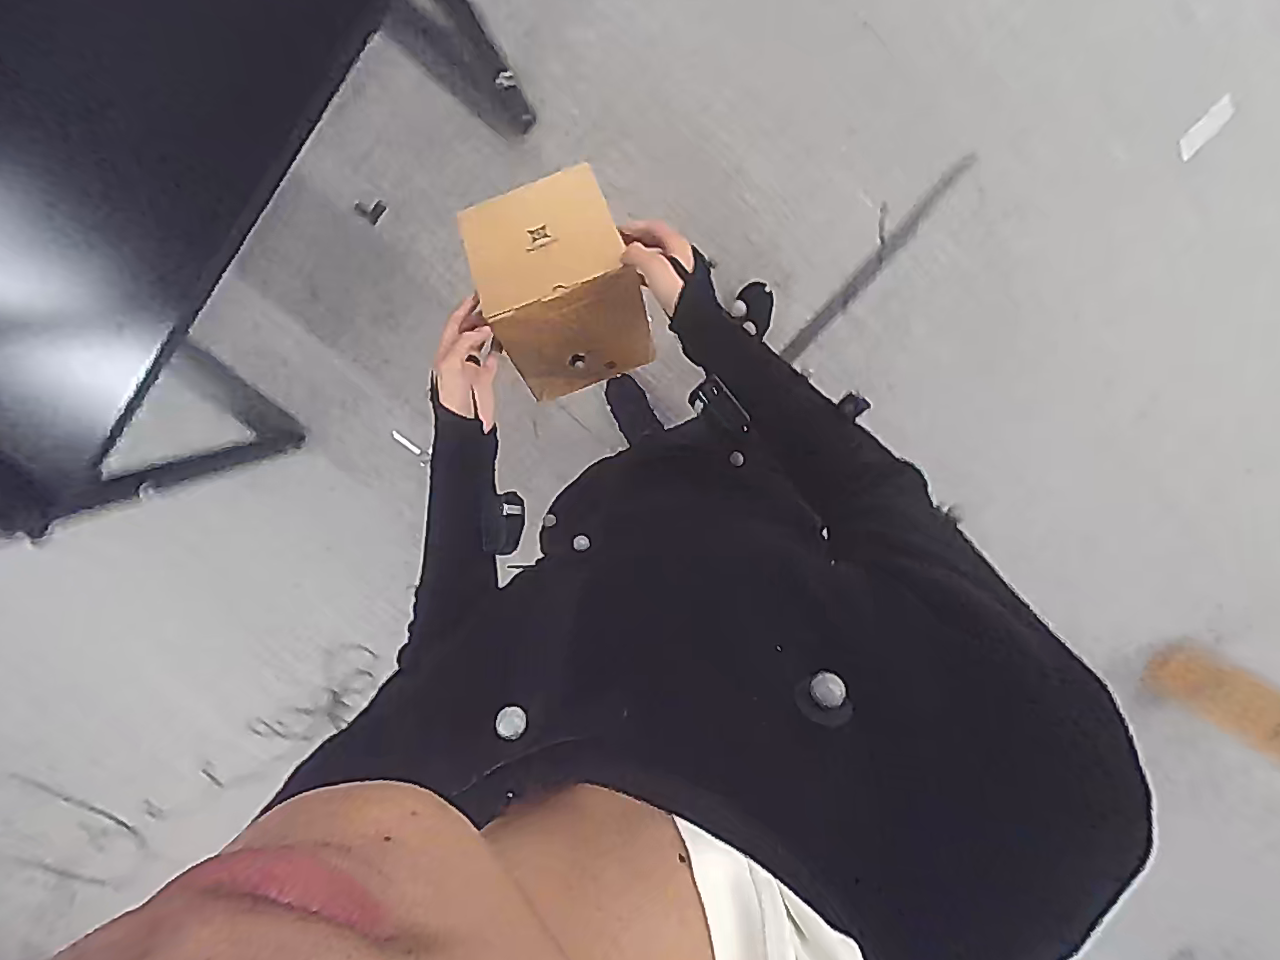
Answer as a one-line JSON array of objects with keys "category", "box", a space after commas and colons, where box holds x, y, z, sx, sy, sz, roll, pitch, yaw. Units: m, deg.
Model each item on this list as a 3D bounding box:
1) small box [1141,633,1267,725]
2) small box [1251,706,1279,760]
[{"category": "small box", "box": [1.740, 0.608, 1.678, 0.179, 0.176, 0.168, 37, 101, -8]}, {"category": "small box", "box": [1.734, 0.679, 1.358, 0.179, 0.176, 0.168, 38, 100, -7]}]
